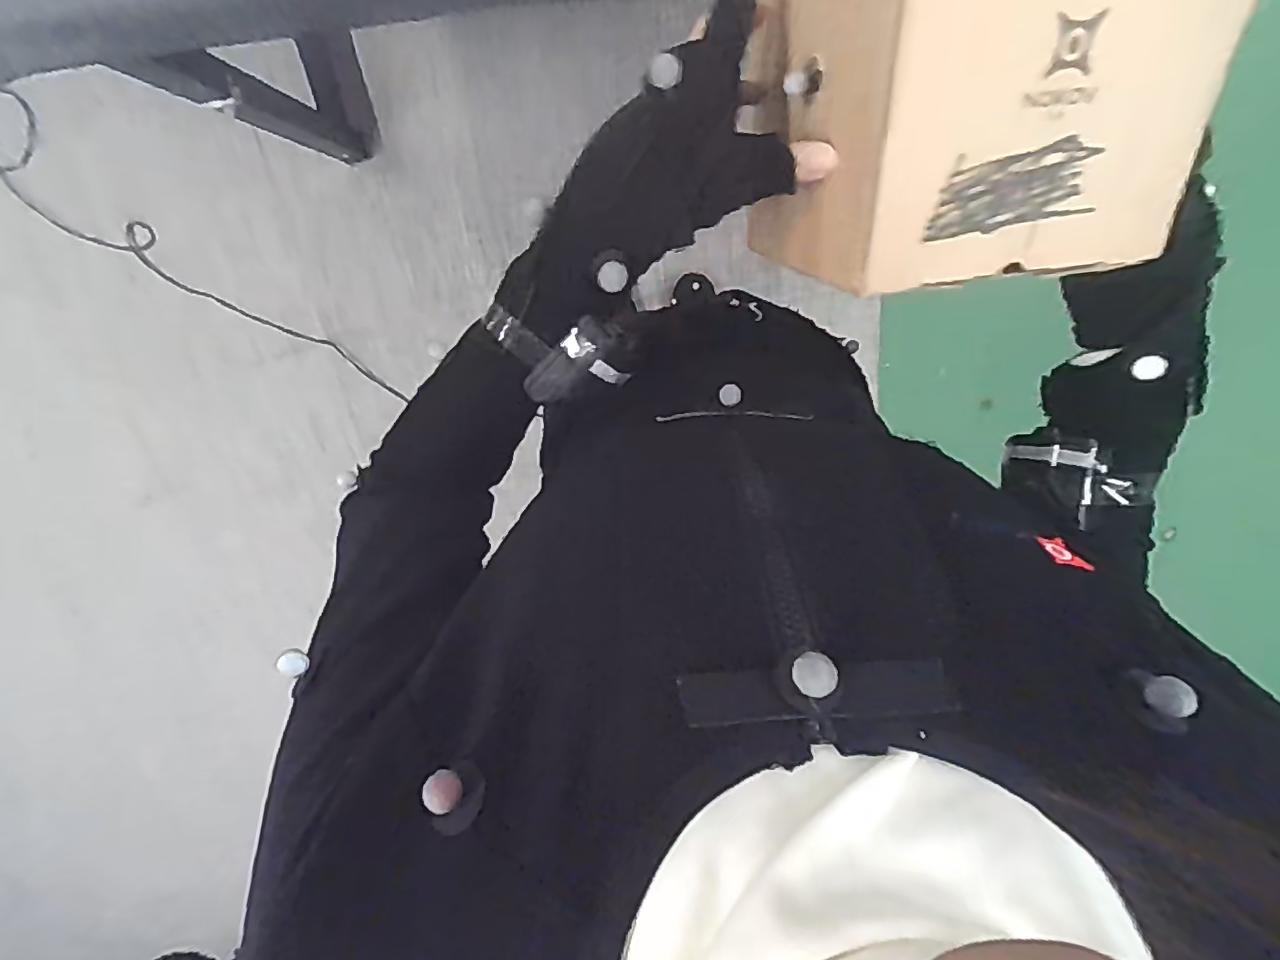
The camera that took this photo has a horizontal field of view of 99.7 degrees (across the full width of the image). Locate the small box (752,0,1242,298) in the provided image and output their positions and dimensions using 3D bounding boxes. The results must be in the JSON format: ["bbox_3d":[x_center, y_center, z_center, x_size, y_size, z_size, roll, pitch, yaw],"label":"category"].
[{"bbox_3d":[0.172,-0.218,0.313,0.168,0.176,0.179,-8,120,-7],"label":"small box"}]
